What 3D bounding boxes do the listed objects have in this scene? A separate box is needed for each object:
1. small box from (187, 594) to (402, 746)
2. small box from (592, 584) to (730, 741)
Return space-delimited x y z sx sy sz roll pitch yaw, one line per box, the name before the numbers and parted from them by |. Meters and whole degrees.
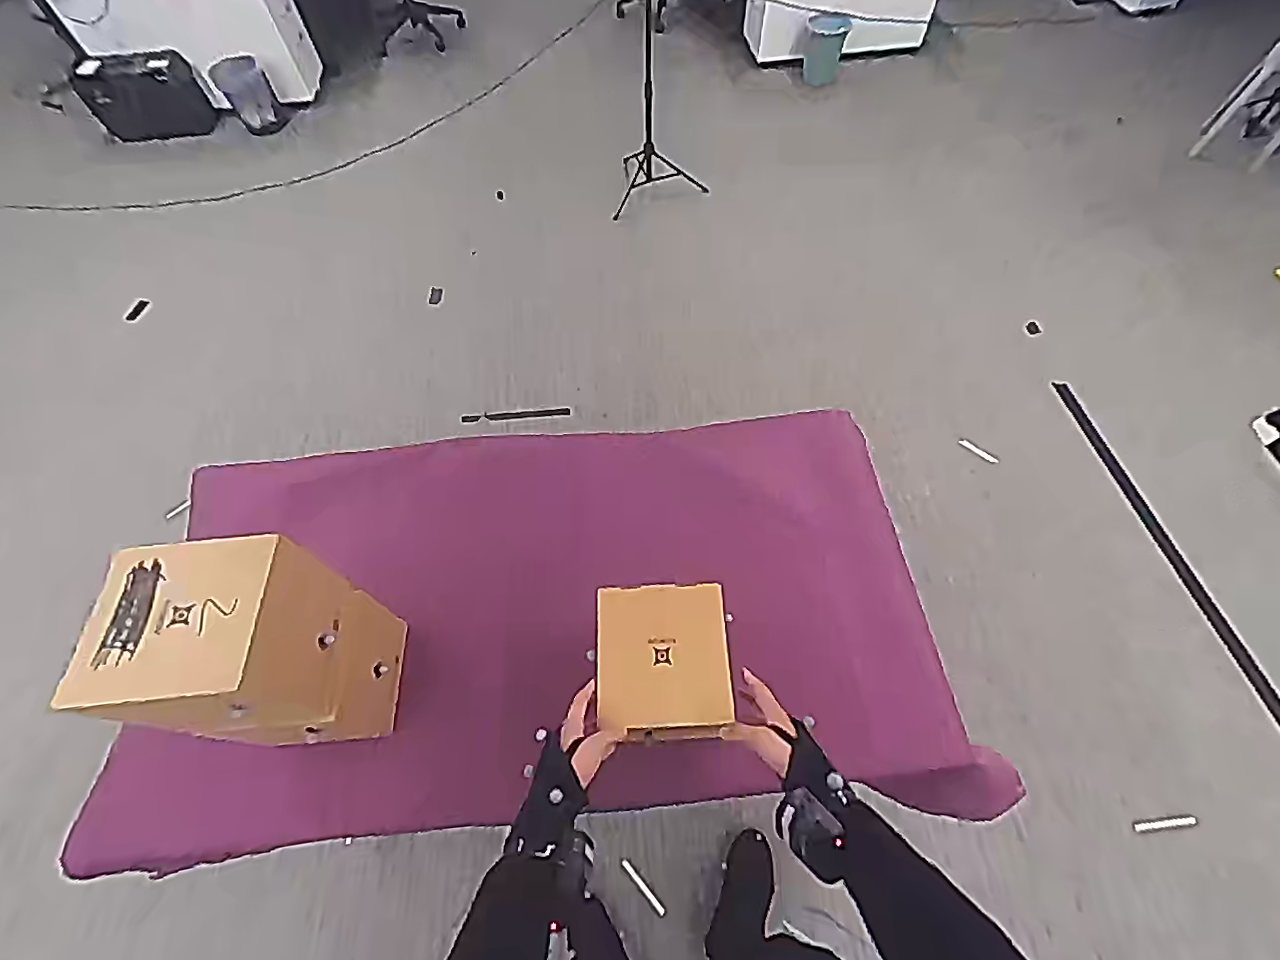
small box | -0.454 0.267 0.749 0.179 0.176 0.168 -4 59 -1
small box | 0.027 0.257 0.742 0.168 0.176 0.179 -3 58 1
